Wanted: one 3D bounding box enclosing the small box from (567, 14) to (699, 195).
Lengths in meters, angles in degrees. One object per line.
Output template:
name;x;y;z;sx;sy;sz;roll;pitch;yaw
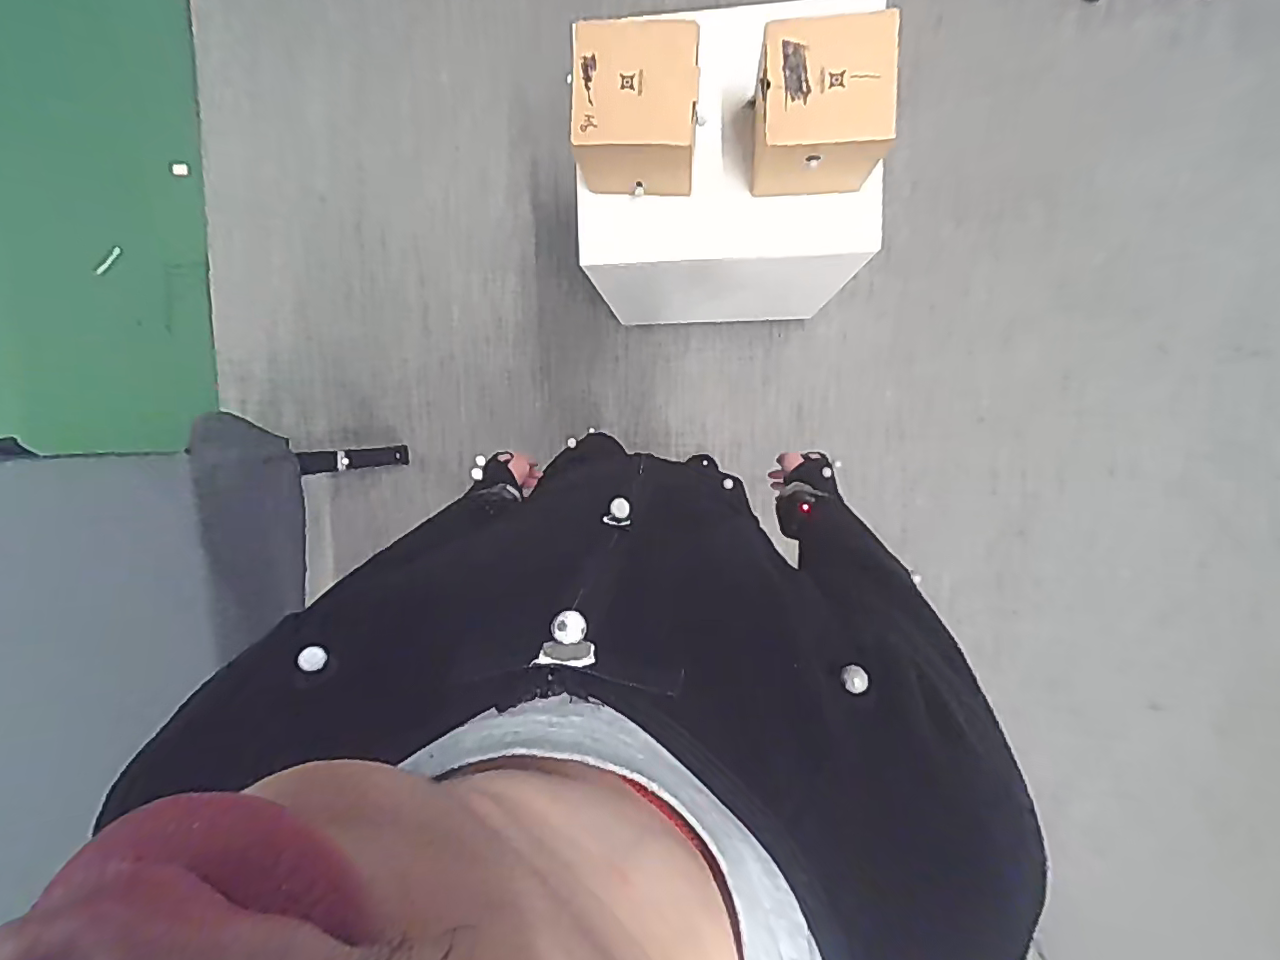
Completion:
small box;-0.009;-0.551;0.815;0.179;0.176;0.168;2;94;2

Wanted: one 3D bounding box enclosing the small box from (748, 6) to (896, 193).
small box;0.256;-0.544;0.798;0.179;0.176;0.168;-1;95;3
